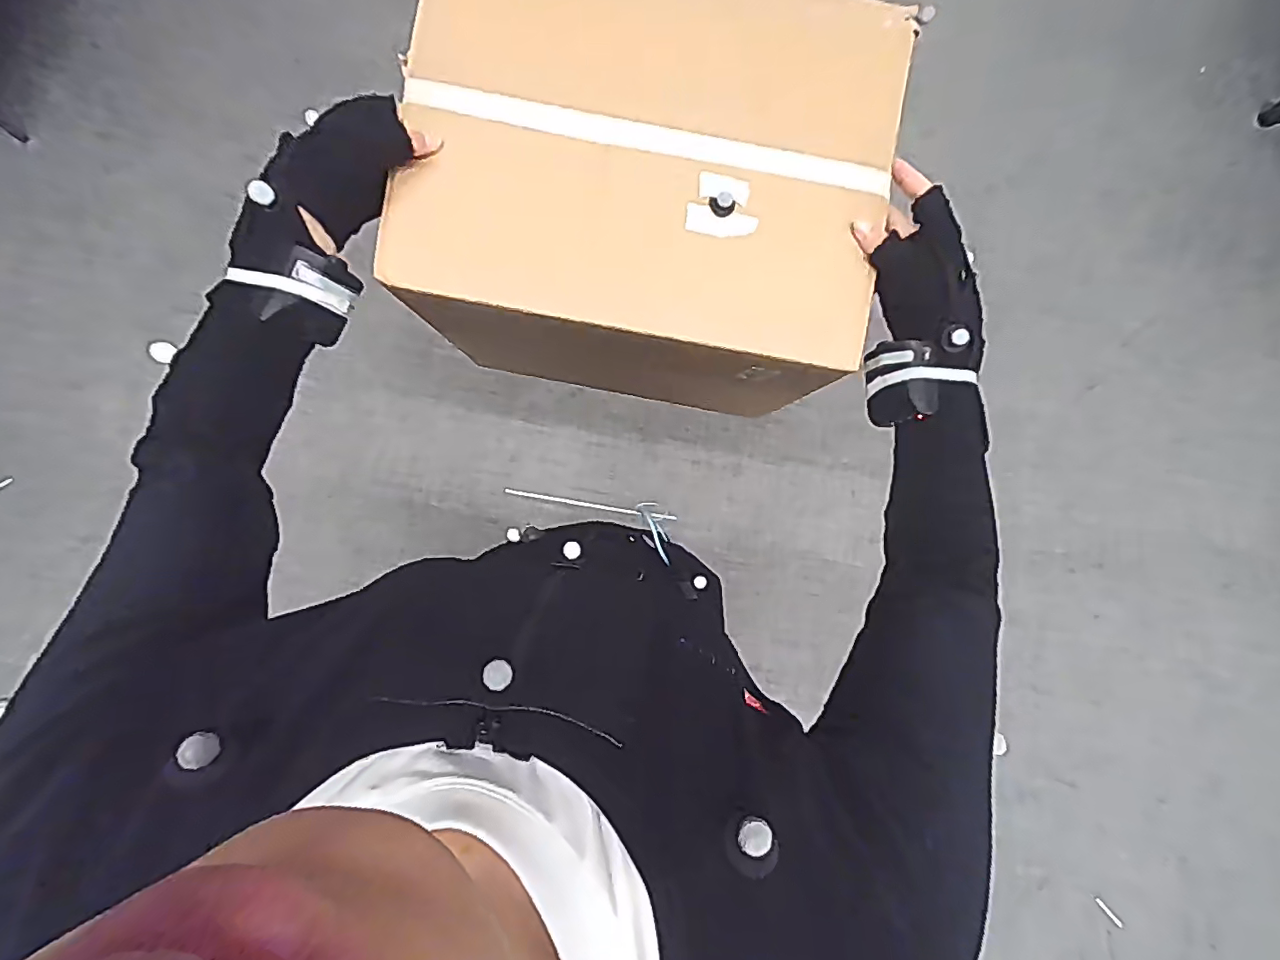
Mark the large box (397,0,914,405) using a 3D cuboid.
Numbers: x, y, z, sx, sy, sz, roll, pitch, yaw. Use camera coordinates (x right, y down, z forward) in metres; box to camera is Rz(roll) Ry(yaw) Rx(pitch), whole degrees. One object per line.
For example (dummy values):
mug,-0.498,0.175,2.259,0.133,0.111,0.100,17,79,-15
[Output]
large box,0.009,-0.285,0.599,0.408,0.320,0.320,10,89,-3
